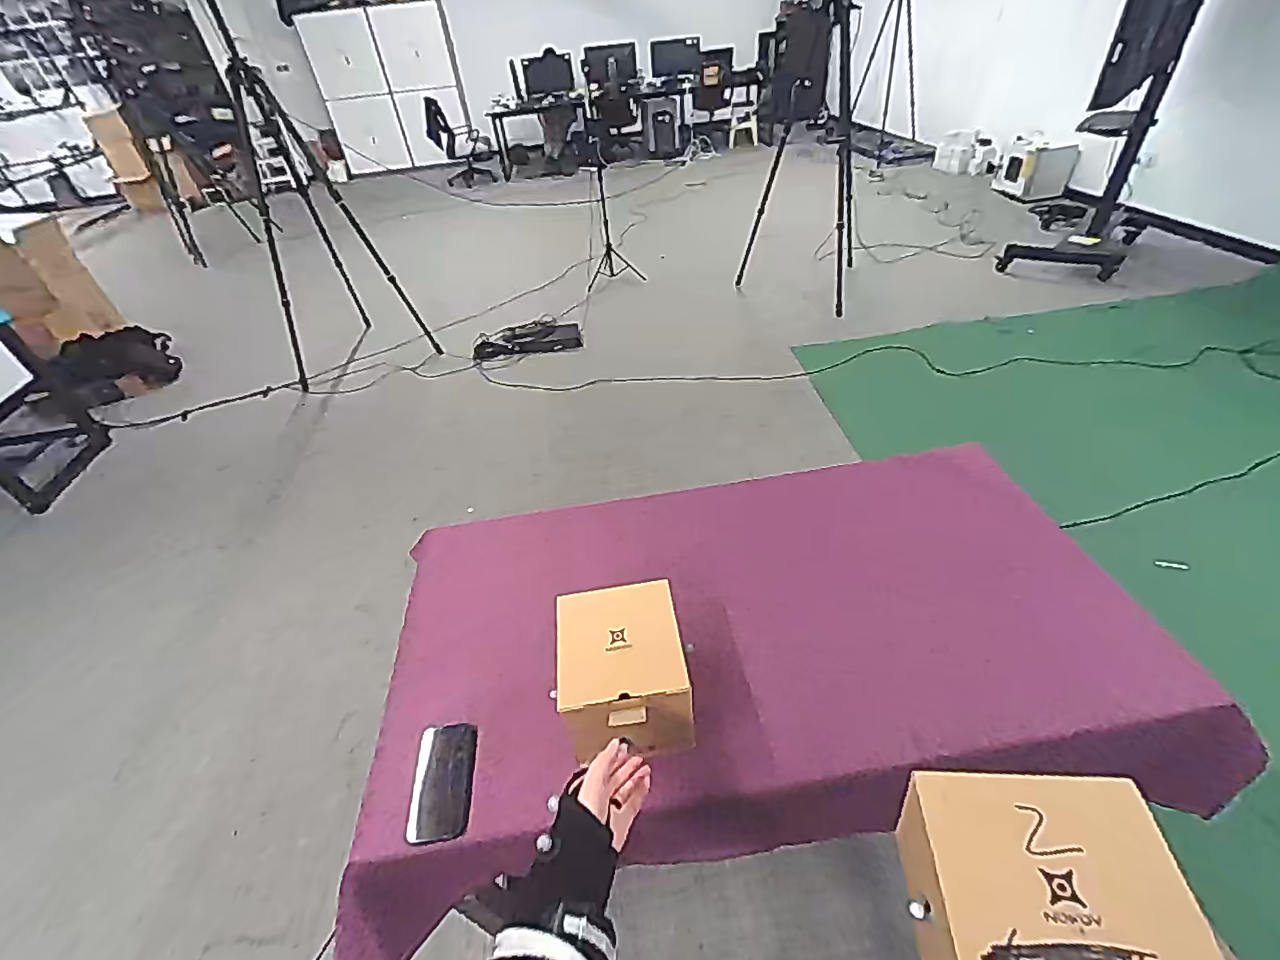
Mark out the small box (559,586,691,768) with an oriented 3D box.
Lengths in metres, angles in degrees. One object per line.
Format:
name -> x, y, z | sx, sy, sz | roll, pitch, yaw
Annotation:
small box -> -0.022, 0.282, 0.779 | 0.168, 0.176, 0.179 | -8, 41, -2
